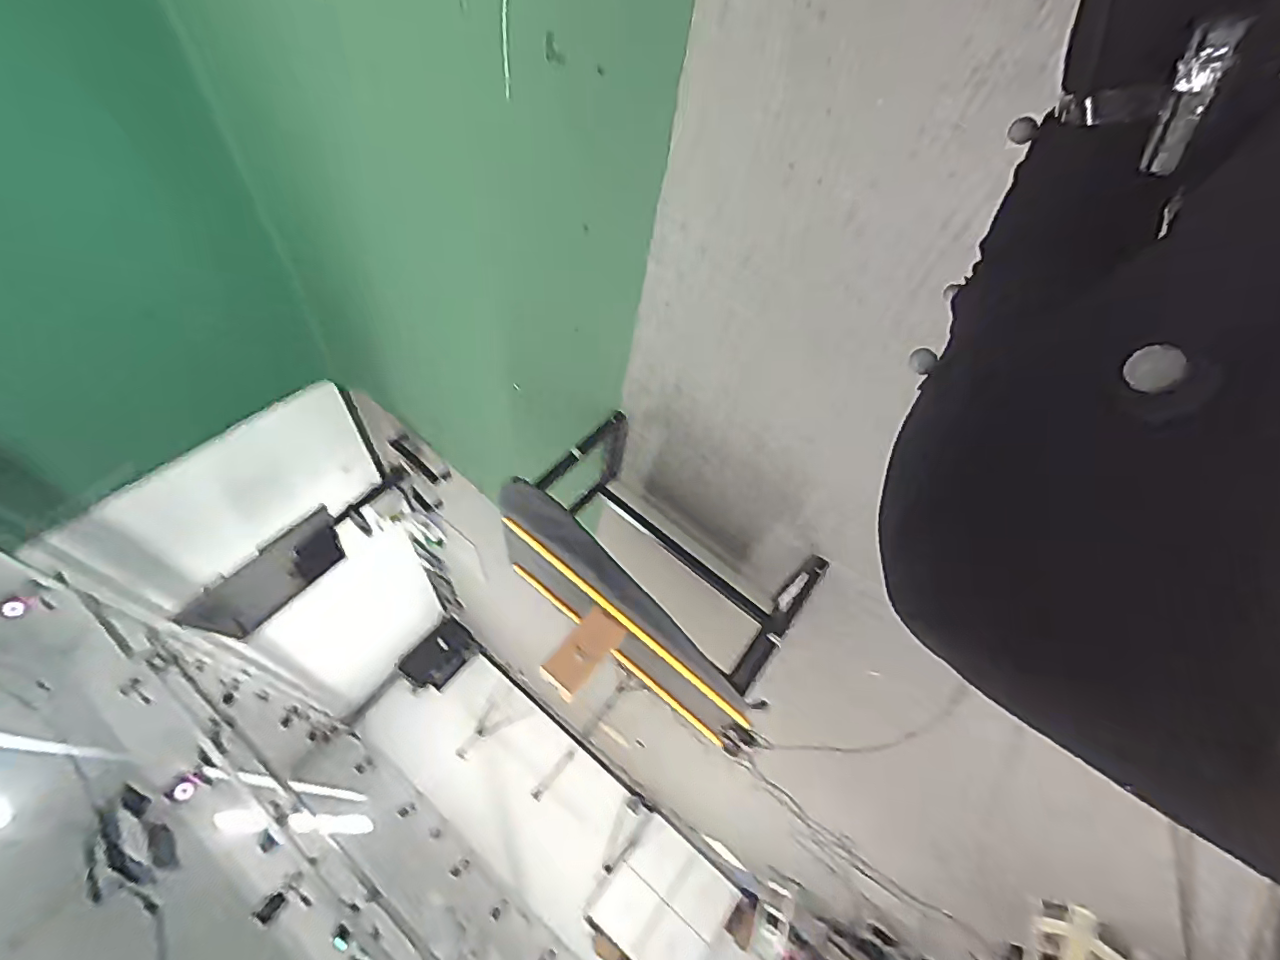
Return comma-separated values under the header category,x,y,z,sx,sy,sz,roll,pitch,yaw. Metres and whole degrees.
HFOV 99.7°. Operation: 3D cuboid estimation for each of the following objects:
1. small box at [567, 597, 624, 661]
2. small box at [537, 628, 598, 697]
category,x,y,z,sx,sy,sz,roll,pitch,yaw
small box,-0.181,0.604,2.181,0.168,0.176,0.179,37,150,13
small box,-0.280,0.706,2.098,0.168,0.176,0.179,37,149,13
